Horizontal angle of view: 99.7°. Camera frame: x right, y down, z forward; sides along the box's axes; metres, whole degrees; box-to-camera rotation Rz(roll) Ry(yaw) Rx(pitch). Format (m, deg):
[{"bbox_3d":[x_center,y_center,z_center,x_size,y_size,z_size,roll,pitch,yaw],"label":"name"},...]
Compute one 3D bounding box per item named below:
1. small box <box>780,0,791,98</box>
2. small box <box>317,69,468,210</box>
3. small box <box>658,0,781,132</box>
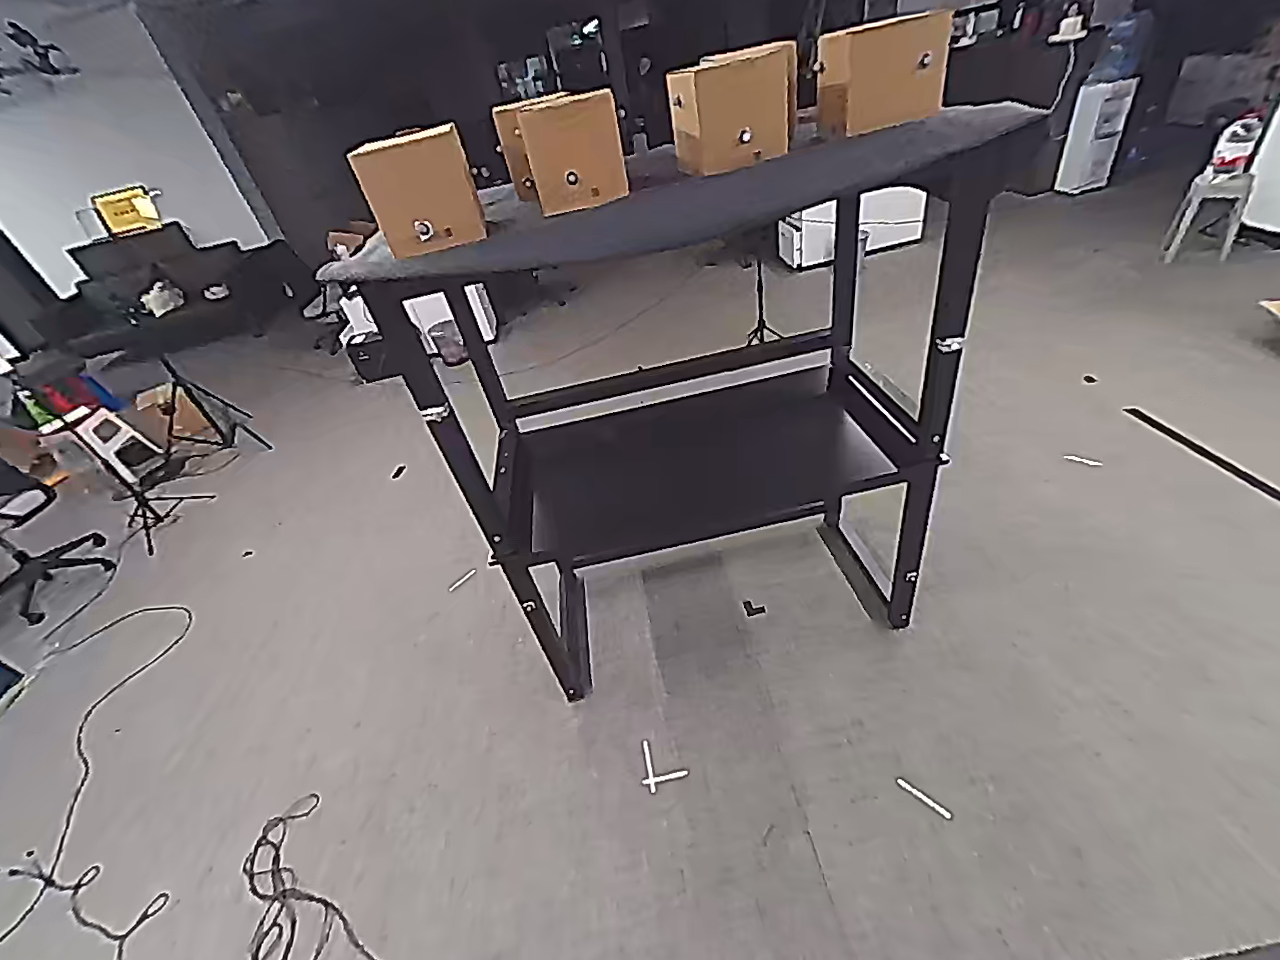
[{"bbox_3d":[0.216,-0.913,1.161,0.168,0.176,0.179,-13,38,1],"label":"small box"},{"bbox_3d":[-0.401,-0.571,0.912,0.168,0.176,0.179,-17,39,-4],"label":"small box"},{"bbox_3d":[0.141,-0.740,0.969,0.168,0.176,0.179,-17,38,-4],"label":"small box"}]
